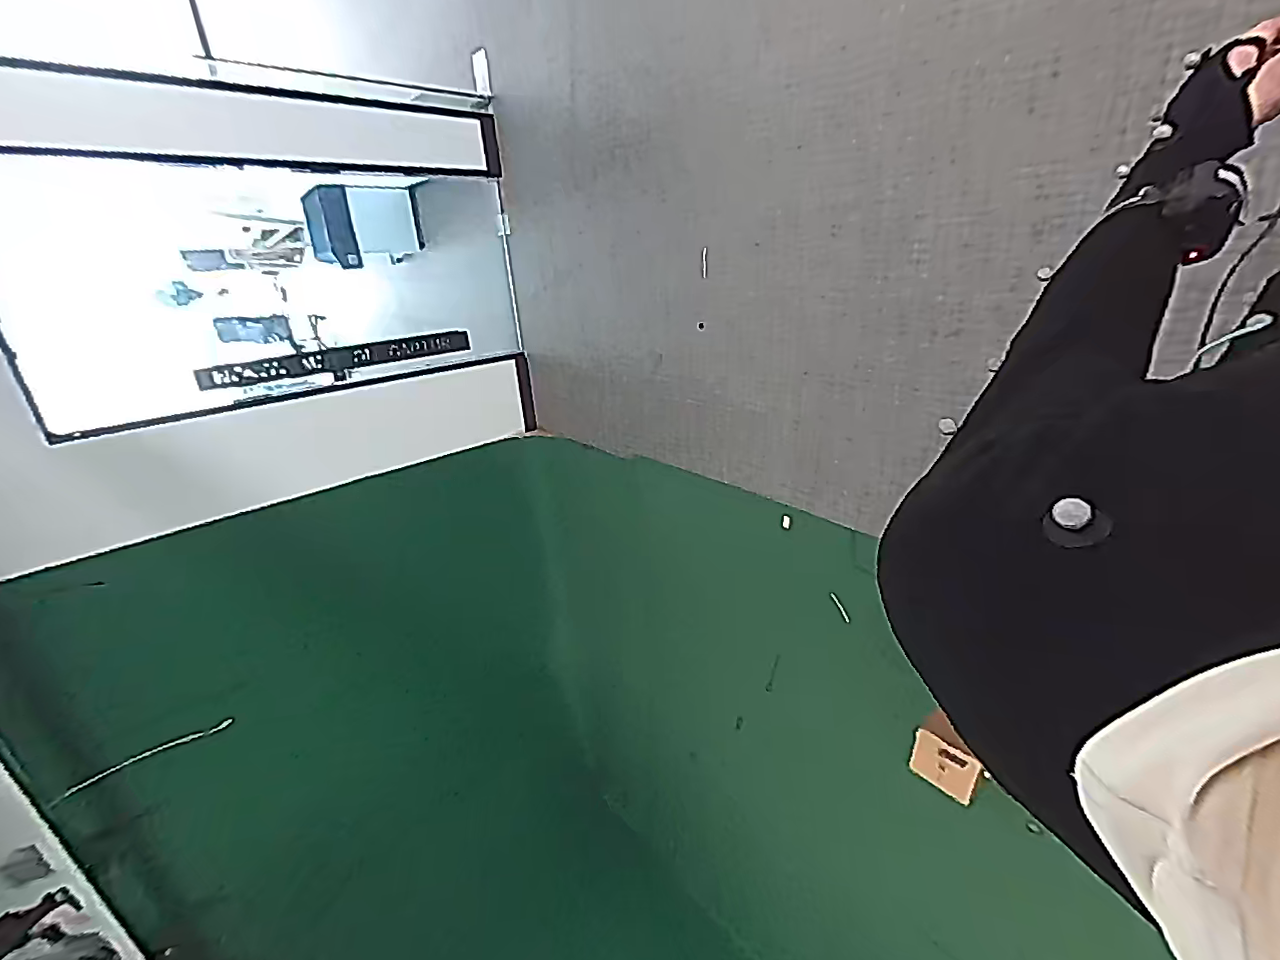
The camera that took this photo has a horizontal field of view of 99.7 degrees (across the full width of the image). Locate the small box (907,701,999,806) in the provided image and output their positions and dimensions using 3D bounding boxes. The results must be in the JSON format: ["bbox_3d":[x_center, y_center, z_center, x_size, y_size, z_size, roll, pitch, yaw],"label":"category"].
[{"bbox_3d":[0.912,0.785,1.572,0.168,0.176,0.179,25,126,44],"label":"small box"}]
